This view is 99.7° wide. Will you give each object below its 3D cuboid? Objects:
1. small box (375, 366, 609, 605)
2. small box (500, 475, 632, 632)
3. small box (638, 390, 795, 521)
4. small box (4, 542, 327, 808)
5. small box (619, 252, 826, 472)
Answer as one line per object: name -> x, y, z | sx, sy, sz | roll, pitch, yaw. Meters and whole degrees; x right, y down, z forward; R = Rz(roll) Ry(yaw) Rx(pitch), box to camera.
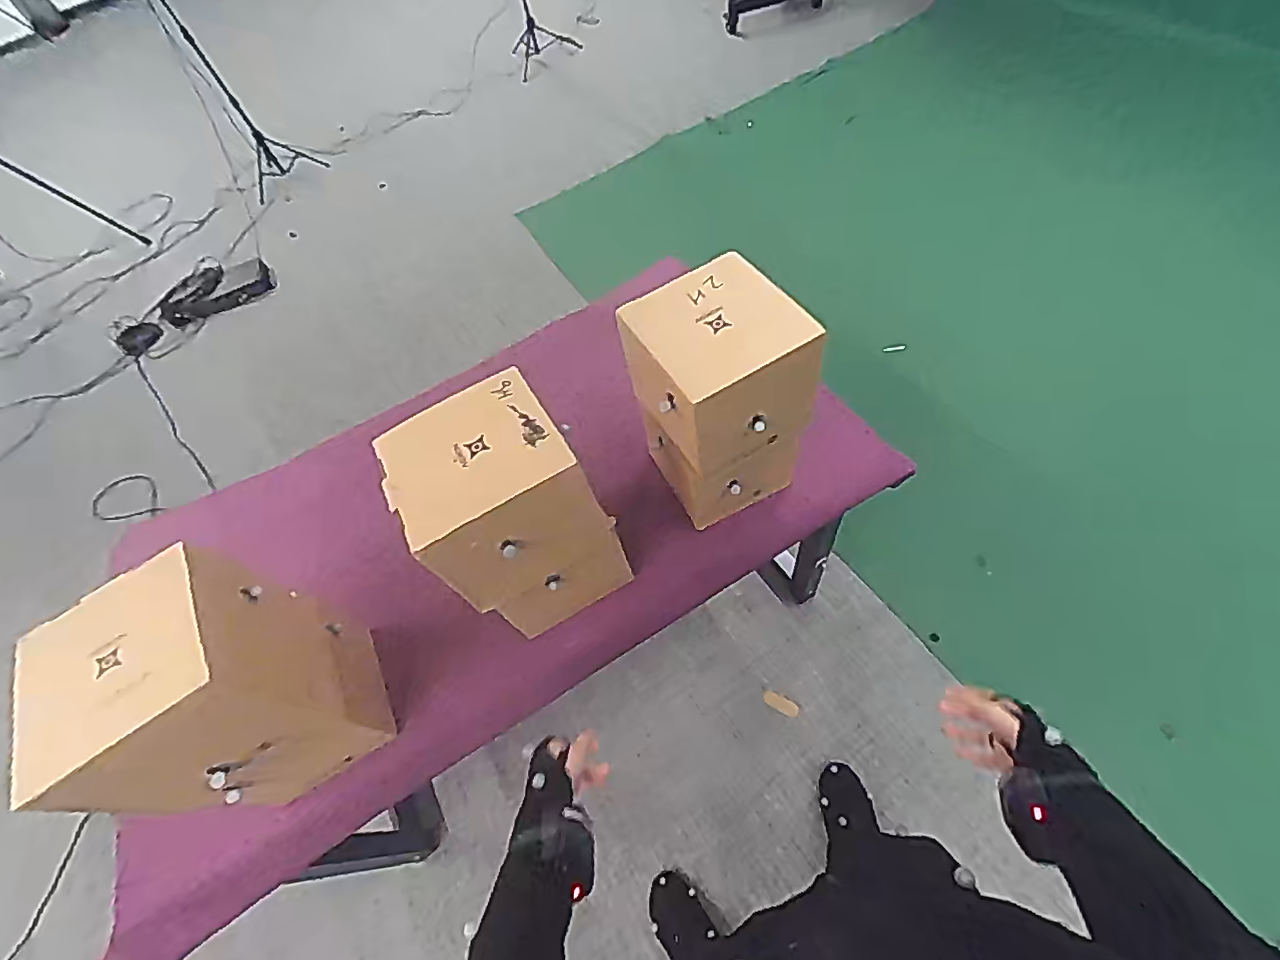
small box -> -0.157, 0.014, 0.611 | 0.179, 0.176, 0.168 | -30, 58, -8
small box -> -0.131, 0.086, 0.756 | 0.179, 0.176, 0.168 | -29, 57, -9
small box -> 0.117, -0.060, 0.805 | 0.168, 0.176, 0.179 | -26, 58, -6
small box -> -0.460, 0.201, 0.546 | 0.168, 0.176, 0.179 | -35, 58, -12
small box -> 0.097, -0.132, 0.656 | 0.168, 0.176, 0.179 | -29, 58, -8
